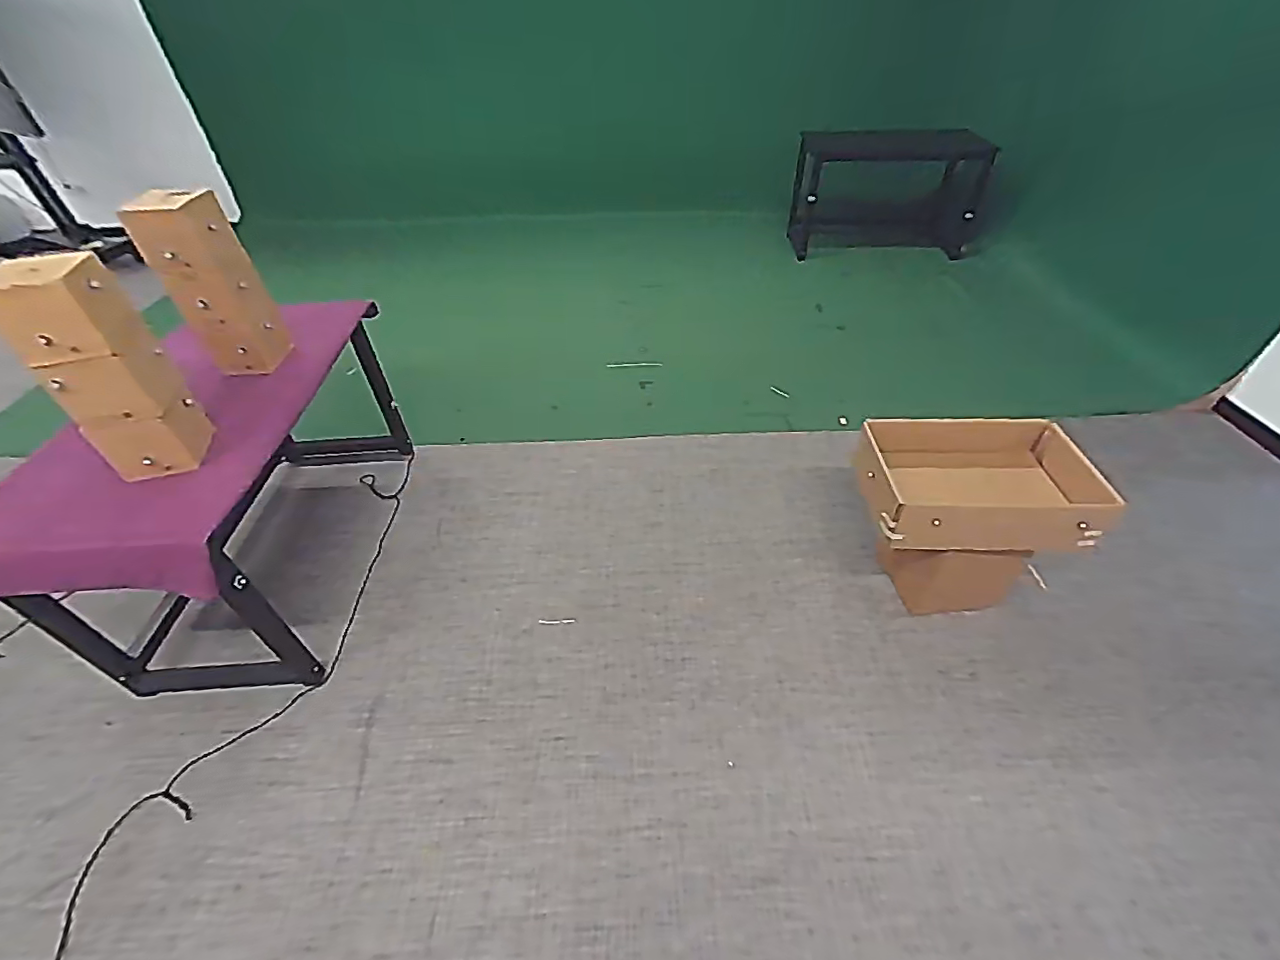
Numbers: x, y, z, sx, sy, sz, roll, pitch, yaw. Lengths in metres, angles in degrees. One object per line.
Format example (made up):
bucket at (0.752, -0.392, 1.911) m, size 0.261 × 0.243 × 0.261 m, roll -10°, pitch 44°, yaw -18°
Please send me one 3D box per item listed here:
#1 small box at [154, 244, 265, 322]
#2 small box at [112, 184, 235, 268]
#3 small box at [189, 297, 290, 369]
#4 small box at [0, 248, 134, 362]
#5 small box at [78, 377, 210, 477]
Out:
small box at (-1.263, -0.581, 1.604) m, size 0.168 × 0.176 × 0.179 m, roll -2°, pitch 45°, yaw -2°
small box at (-1.268, -0.700, 1.490) m, size 0.168 × 0.176 × 0.179 m, roll -3°, pitch 45°, yaw -2°
small box at (-1.258, -0.464, 1.718) m, size 0.168 × 0.176 × 0.179 m, roll -1°, pitch 44°, yaw 0°
small box at (-1.241, -0.373, 1.152) m, size 0.168 × 0.176 × 0.179 m, roll -13°, pitch 45°, yaw -13°
small box at (-1.243, -0.134, 1.375) m, size 0.168 × 0.176 × 0.179 m, roll -13°, pitch 45°, yaw -11°
